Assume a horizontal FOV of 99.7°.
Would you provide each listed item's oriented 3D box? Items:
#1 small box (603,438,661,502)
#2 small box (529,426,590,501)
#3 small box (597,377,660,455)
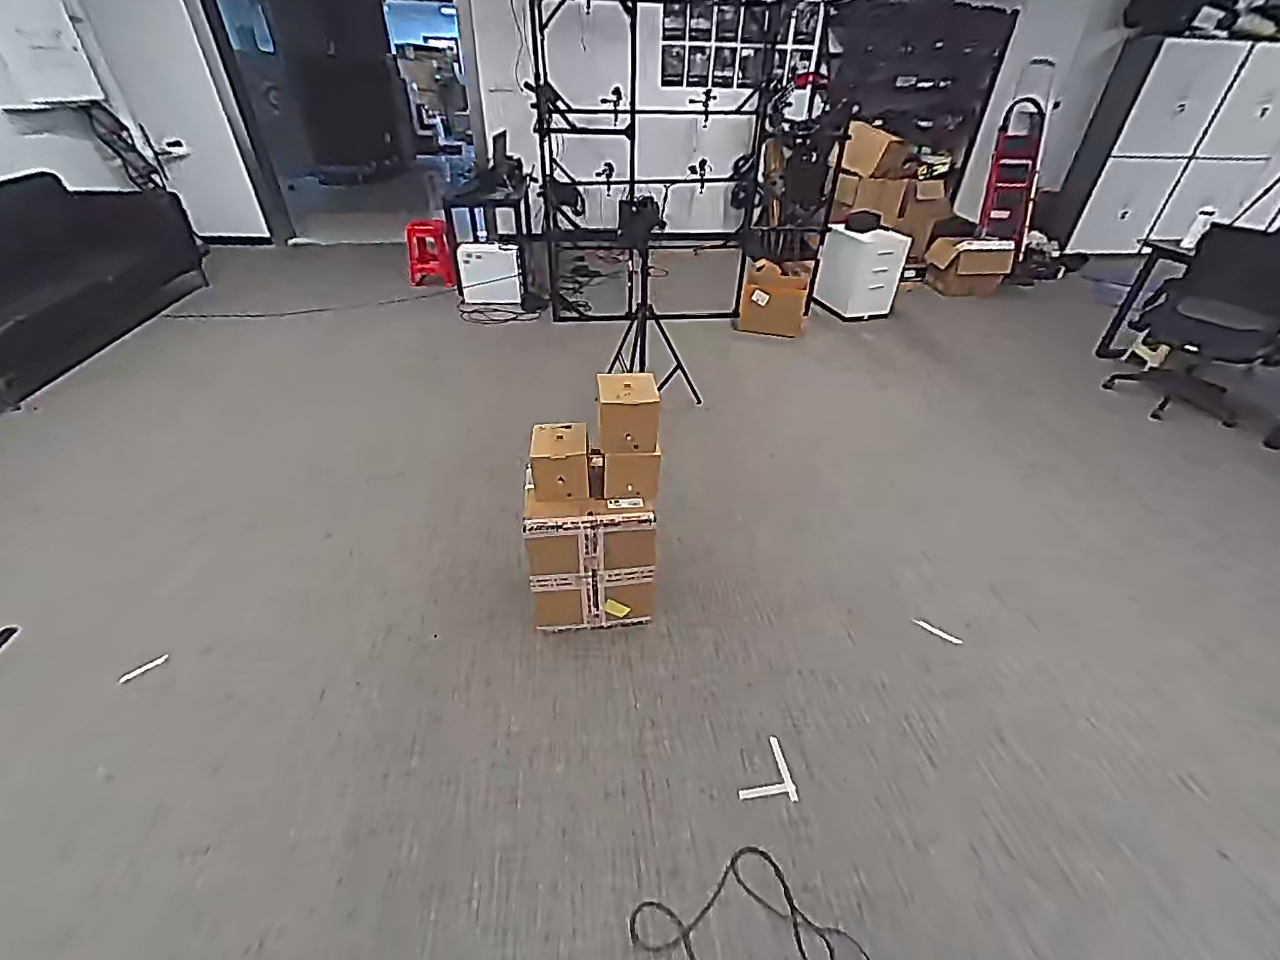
[{"bbox_3d":[-0.031,-0.051,1.676,0.168,0.176,0.179,-1,39,-6],"label":"small box"},{"bbox_3d":[-0.240,-0.047,1.658,0.168,0.176,0.179,-3,39,-3],"label":"small box"},{"bbox_3d":[-0.041,-0.188,1.582,0.168,0.176,0.179,-2,38,-8],"label":"small box"}]
